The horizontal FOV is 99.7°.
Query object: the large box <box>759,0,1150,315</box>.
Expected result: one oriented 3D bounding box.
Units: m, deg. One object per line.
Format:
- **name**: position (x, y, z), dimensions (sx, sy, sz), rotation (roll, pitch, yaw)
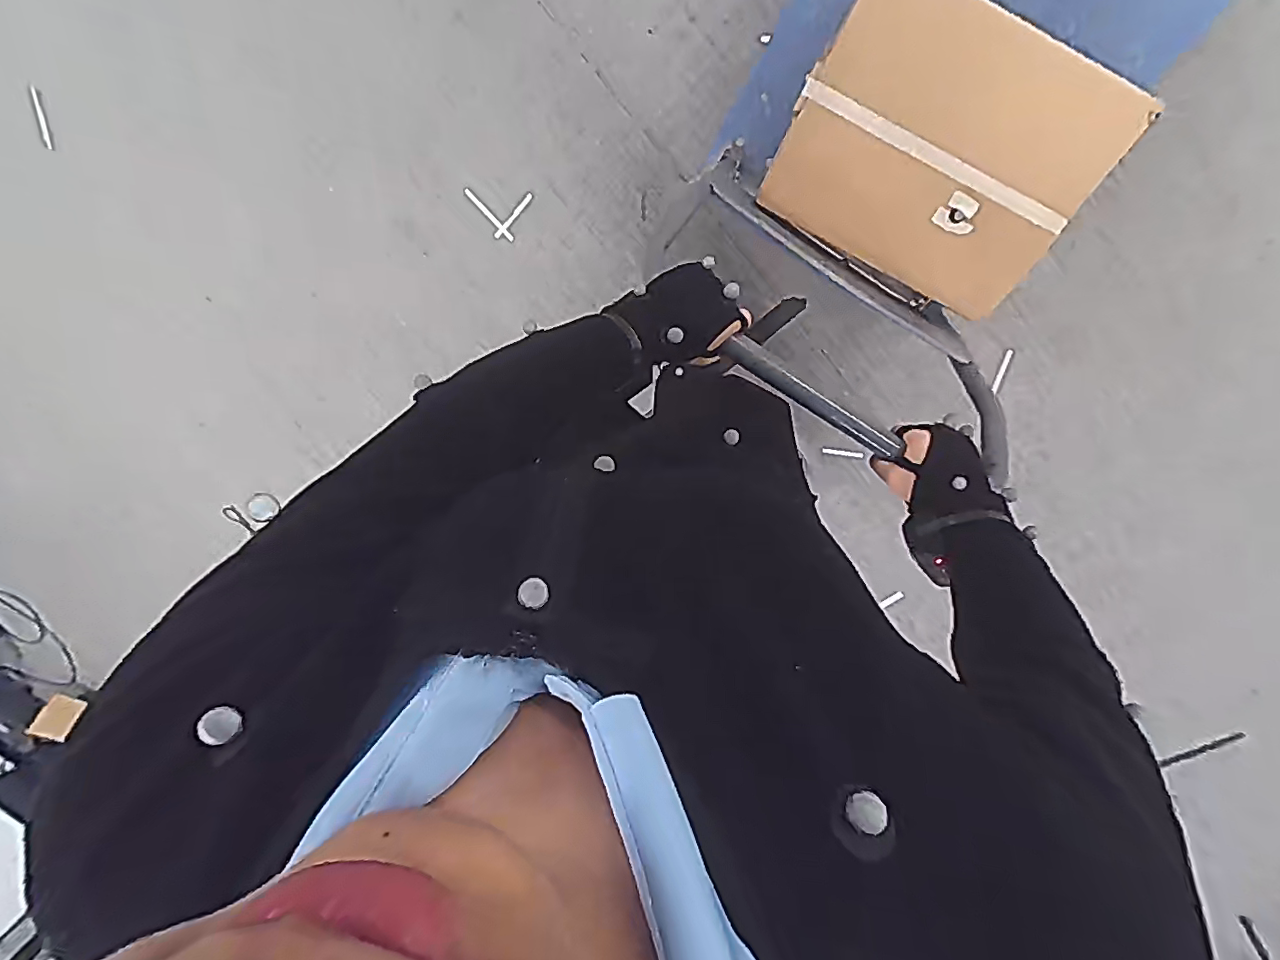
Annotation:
- **large box**: position (0.446, -0.533, 0.886), dimensions (0.408, 0.320, 0.320), rotation (27, 125, -4)
